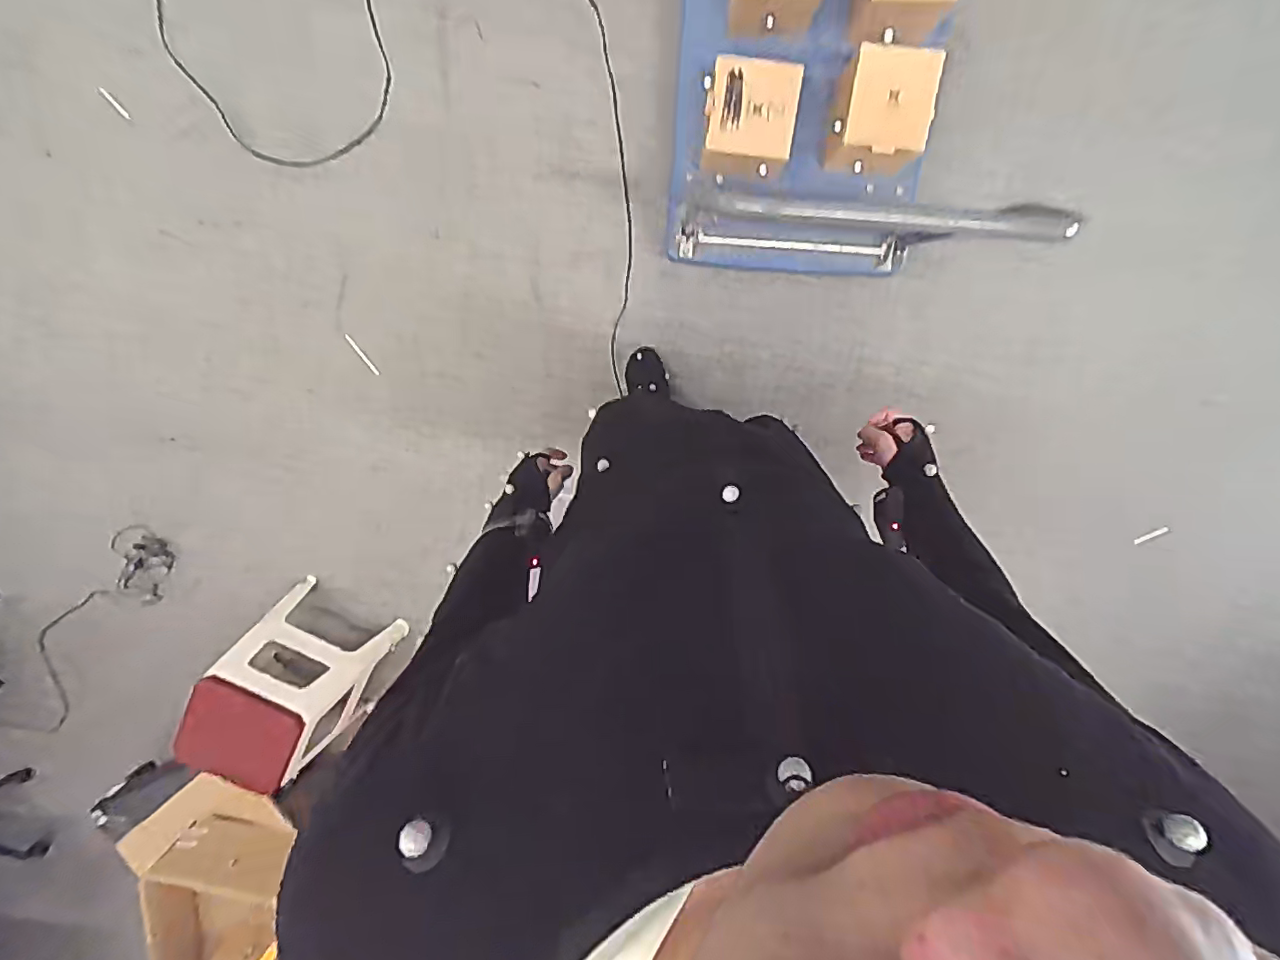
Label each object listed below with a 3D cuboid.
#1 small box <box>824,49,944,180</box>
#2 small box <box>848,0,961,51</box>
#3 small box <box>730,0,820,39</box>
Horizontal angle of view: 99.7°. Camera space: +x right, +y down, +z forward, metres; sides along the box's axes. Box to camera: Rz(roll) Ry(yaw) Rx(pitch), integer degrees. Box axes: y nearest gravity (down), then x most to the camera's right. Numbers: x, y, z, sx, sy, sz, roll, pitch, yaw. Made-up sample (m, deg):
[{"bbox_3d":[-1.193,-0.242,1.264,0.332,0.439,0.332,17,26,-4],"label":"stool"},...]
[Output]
[{"bbox_3d":[0.504,-0.763,1.145,0.168,0.176,0.179,7,105,1],"label":"small box"},{"bbox_3d":[0.529,-1.000,1.075,0.168,0.176,0.179,3,106,3],"label":"small box"},{"bbox_3d":[0.275,-1.021,1.082,0.168,0.176,0.179,1,105,2],"label":"small box"}]
